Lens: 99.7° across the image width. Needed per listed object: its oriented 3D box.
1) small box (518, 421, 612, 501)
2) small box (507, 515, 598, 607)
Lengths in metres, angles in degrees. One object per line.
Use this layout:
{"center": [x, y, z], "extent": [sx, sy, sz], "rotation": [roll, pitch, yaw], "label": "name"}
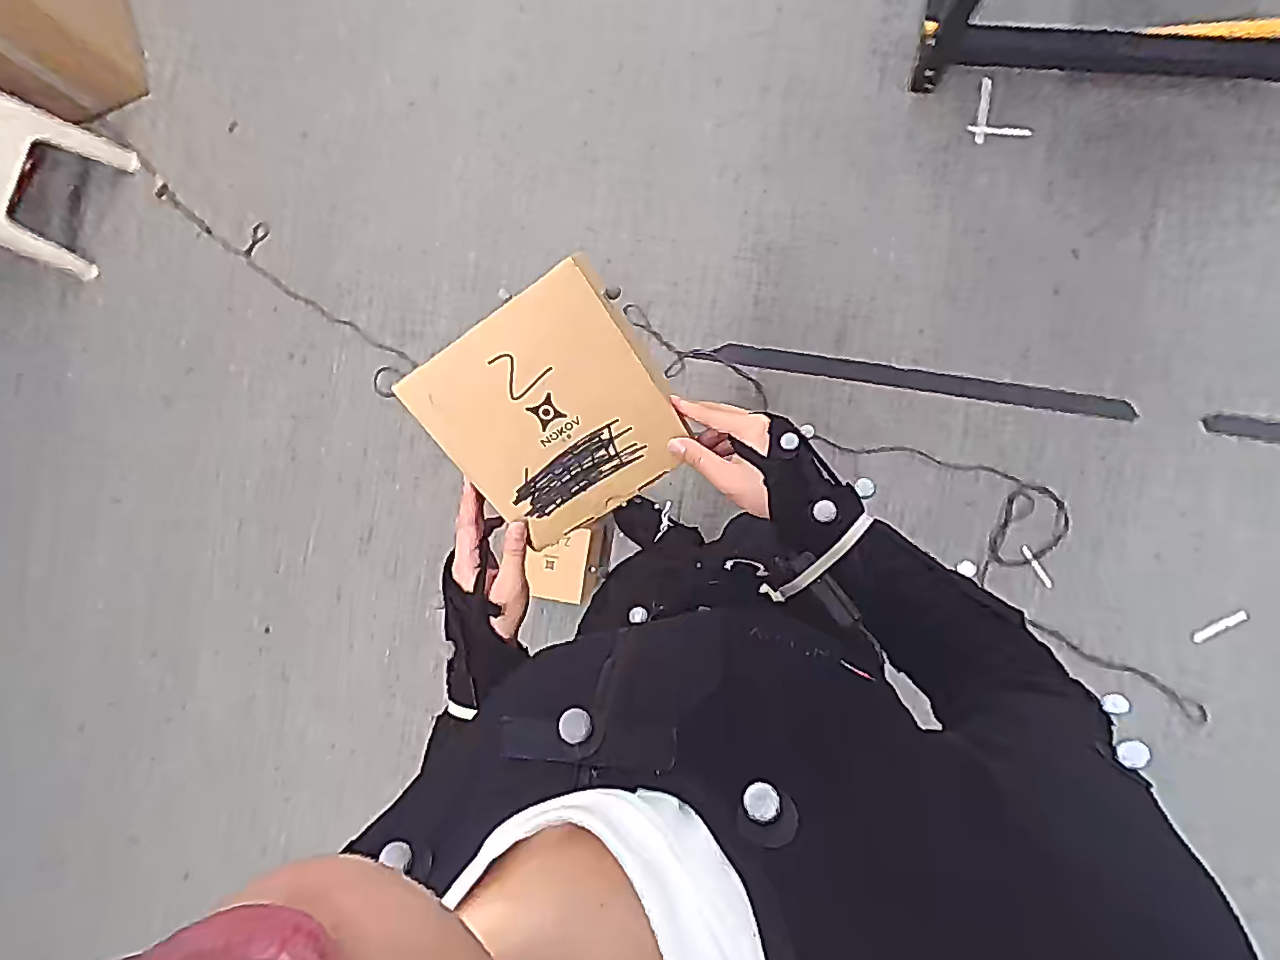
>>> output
{"center": [-0.174, -0.042, 1.302], "extent": [0.179, 0.176, 0.168], "rotation": [7, 91, 5], "label": "small box"}
{"center": [-0.203, 0.188, 1.305], "extent": [0.168, 0.176, 0.179], "rotation": [9, 91, 6], "label": "small box"}
